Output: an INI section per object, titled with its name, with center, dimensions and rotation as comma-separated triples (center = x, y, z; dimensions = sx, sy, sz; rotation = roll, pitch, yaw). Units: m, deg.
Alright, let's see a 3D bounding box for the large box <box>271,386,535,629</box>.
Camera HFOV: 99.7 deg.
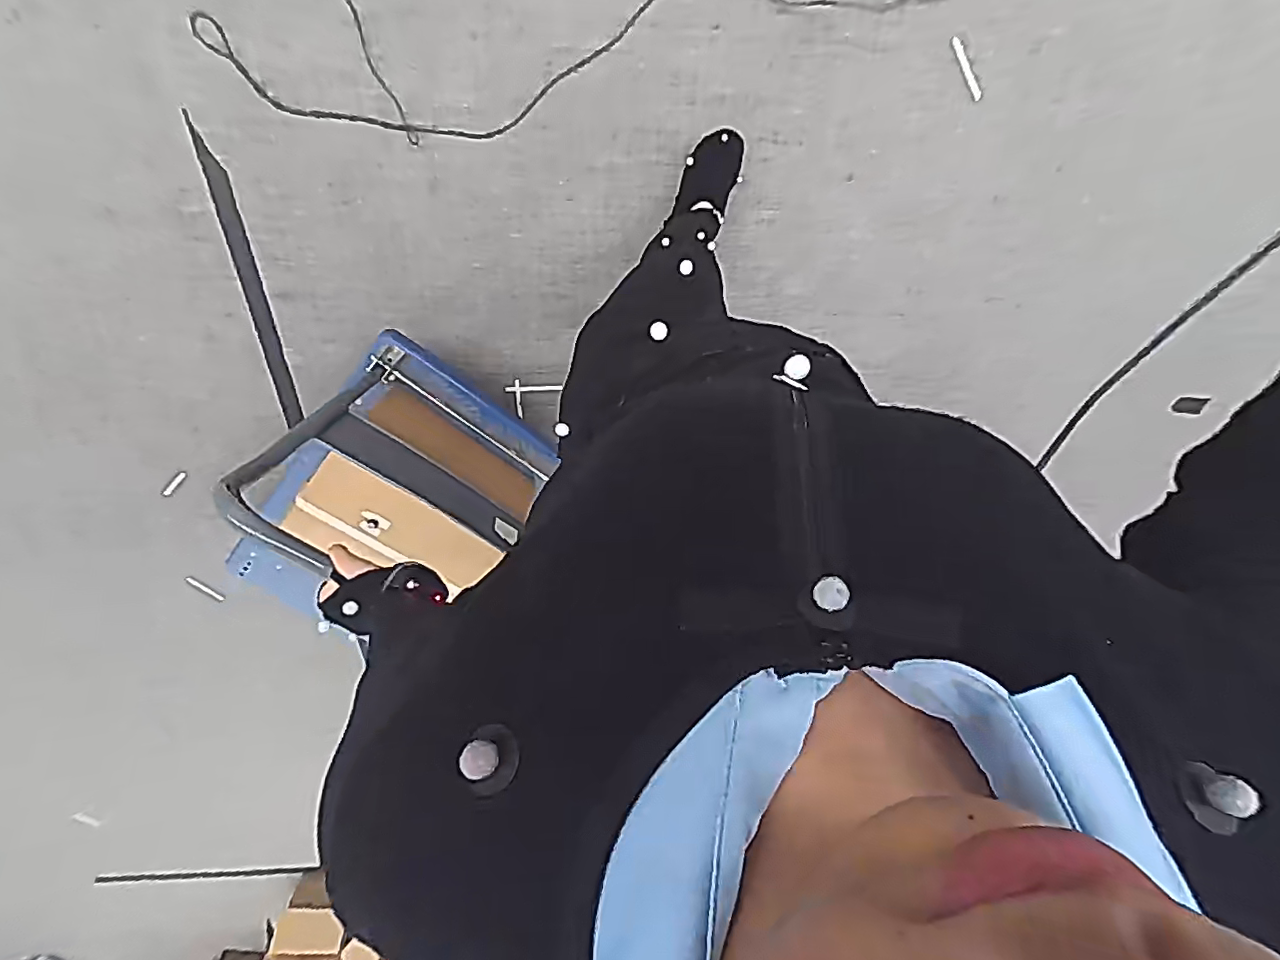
[large box]
center = -0.506, 0.060, 1.237
dimensions = 0.408, 0.320, 0.320
rotation = 37, 111, -21
